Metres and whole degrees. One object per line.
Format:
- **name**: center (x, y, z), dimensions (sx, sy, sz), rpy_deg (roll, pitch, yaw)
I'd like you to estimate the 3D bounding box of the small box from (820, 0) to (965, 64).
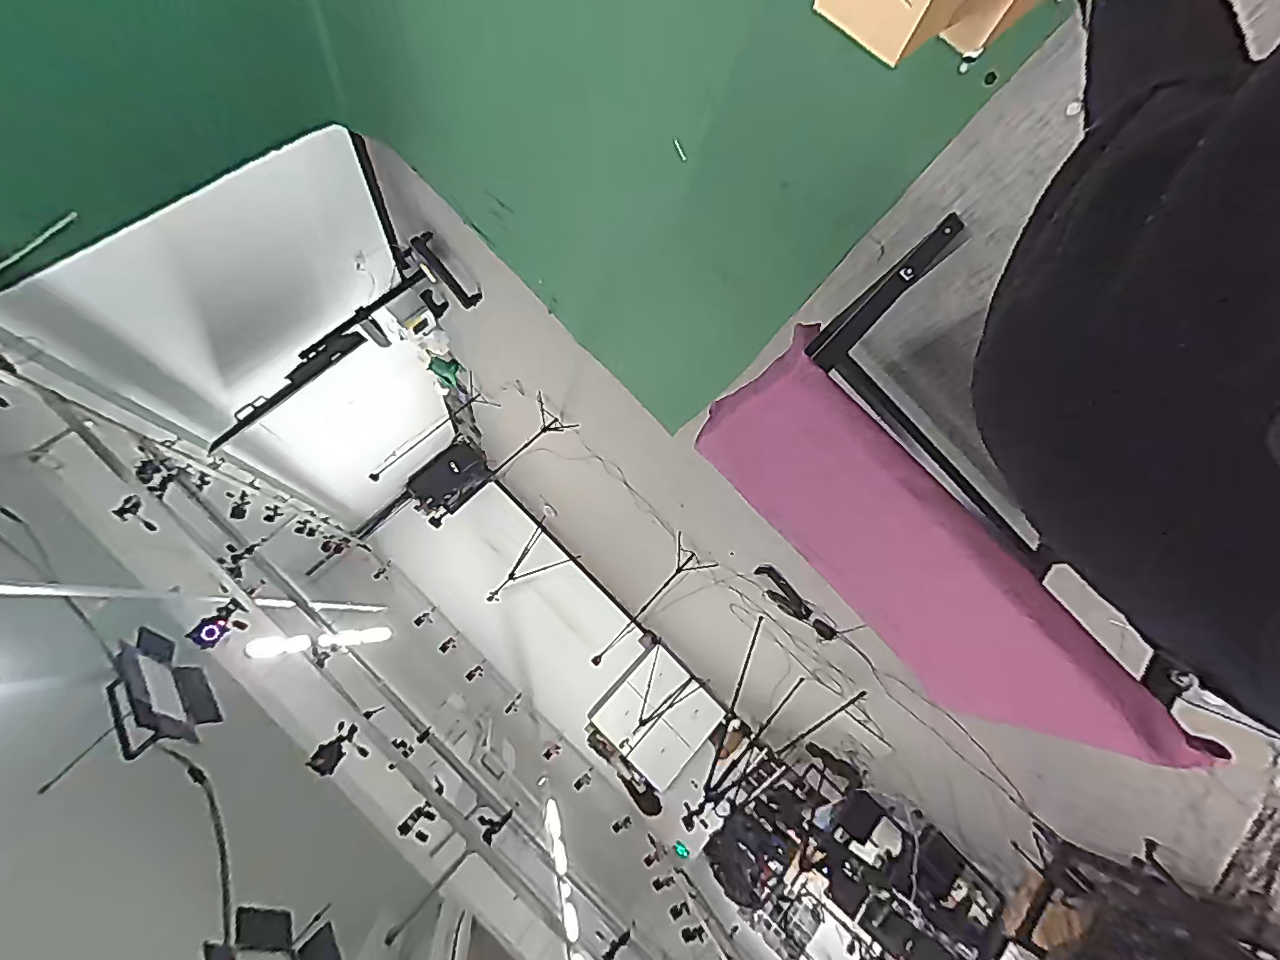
- **small box**: center (0.426, -0.811, 0.842), dimensions (0.179, 0.176, 0.168), rpy_deg (44, 161, 7)
